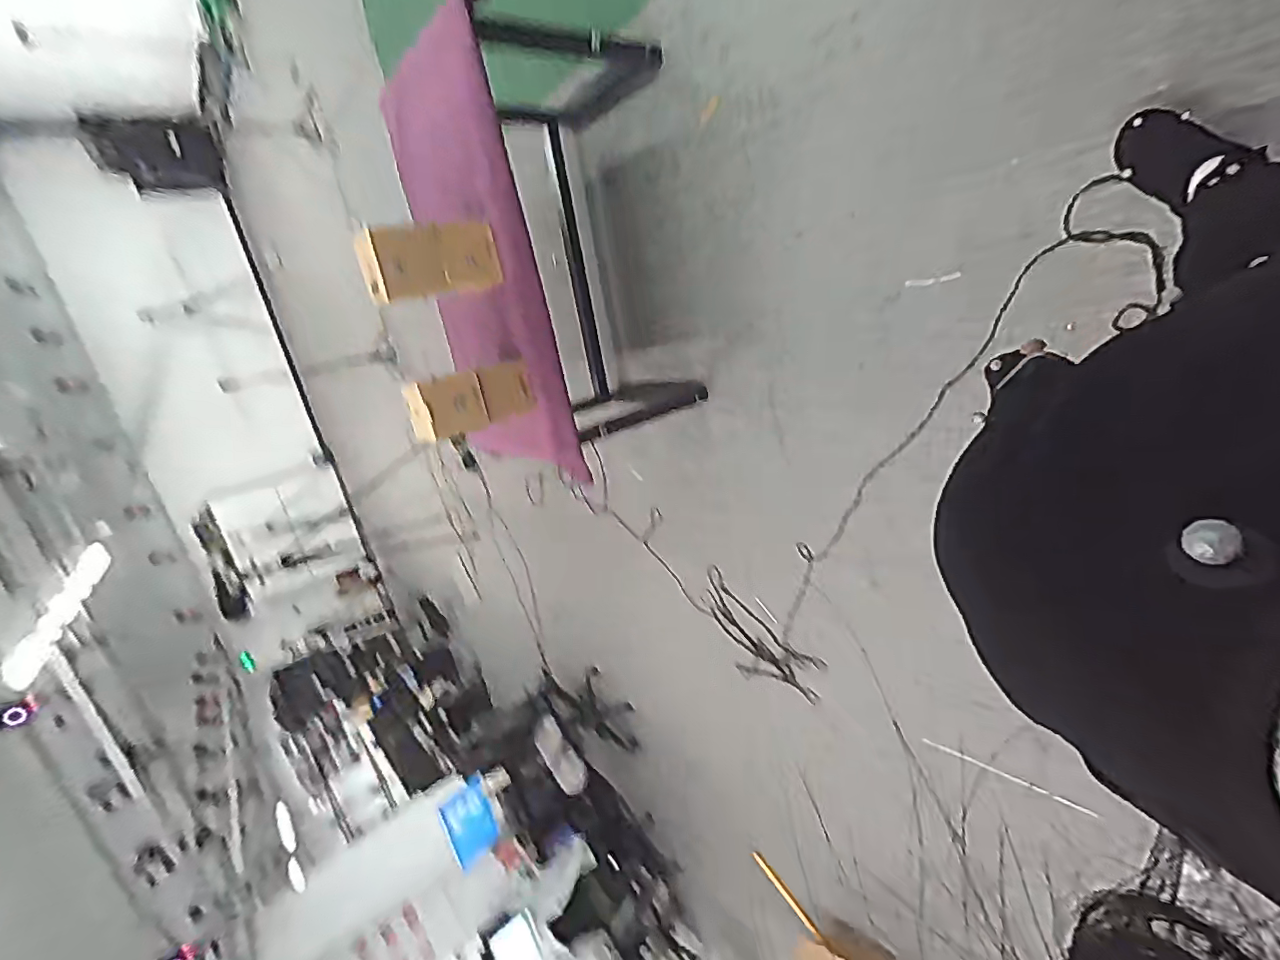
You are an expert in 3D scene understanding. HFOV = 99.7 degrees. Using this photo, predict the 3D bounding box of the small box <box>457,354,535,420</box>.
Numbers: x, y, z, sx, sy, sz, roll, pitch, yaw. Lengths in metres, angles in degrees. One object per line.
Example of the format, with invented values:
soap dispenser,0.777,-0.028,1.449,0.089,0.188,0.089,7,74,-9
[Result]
small box,-0.448,-0.286,1.663,0.179,0.176,0.168,9,117,50

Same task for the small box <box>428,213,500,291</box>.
small box,-0.518,-0.649,1.542,0.179,0.176,0.168,10,118,52

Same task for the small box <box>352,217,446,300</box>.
small box,-0.642,-0.593,1.449,0.168,0.176,0.179,14,120,50

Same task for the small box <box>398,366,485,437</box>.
small box,-0.563,-0.230,1.561,0.179,0.176,0.168,11,118,49
